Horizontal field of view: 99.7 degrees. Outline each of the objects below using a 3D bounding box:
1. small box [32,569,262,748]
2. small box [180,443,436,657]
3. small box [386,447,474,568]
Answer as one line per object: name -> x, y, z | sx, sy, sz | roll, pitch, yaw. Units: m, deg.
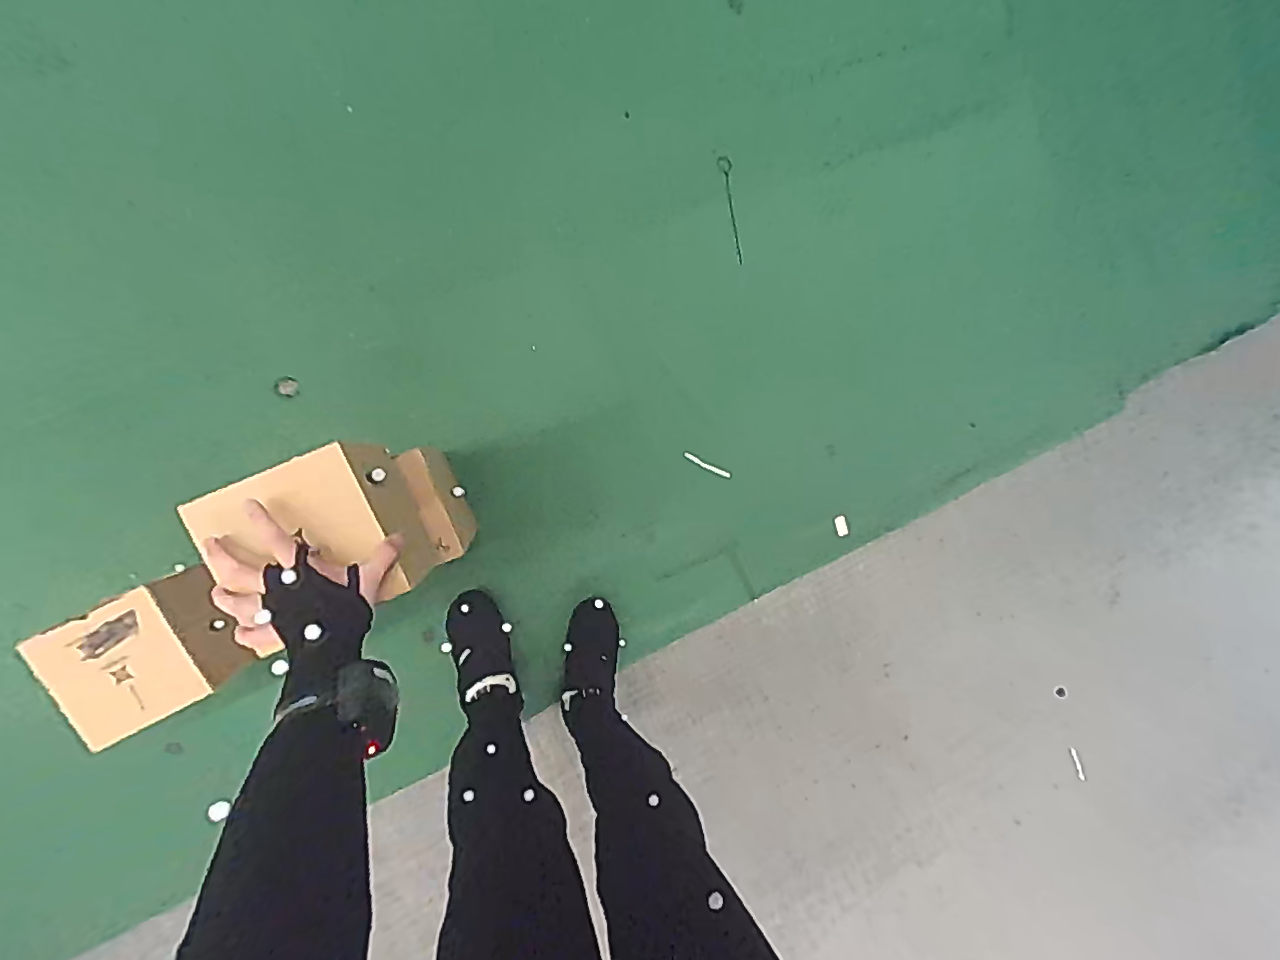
small box -> -0.708, 0.248, 0.810 | 0.168, 0.176, 0.179 | -27, 99, -8
small box -> -0.364, 0.069, 0.632 | 0.168, 0.176, 0.179 | -25, 97, -8
small box -> -0.379, 0.056, 0.865 | 0.168, 0.176, 0.179 | -21, 98, -10
